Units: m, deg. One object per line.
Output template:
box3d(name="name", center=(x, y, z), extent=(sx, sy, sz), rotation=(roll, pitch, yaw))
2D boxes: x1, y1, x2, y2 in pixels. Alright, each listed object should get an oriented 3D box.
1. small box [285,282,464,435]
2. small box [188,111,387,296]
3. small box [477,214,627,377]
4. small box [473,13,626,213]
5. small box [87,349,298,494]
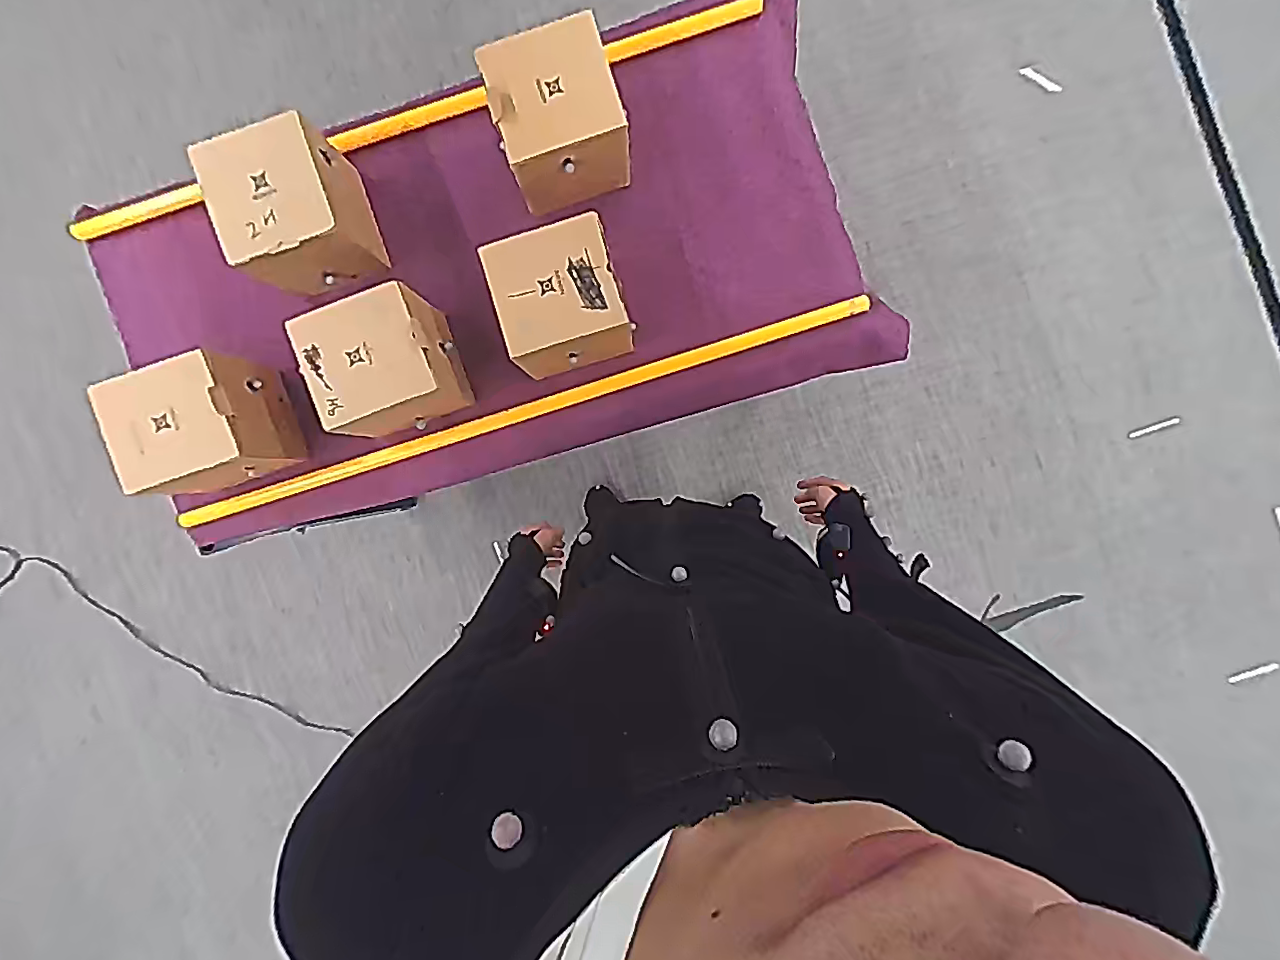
box3d(name="small box", center=(-0.391, -0.177, 0.838), extent=(0.179, 0.176, 0.168), rotation=(-20, 91, 0))
box3d(name="small box", center=(-0.528, -0.412, 0.835), extent=(0.168, 0.176, 0.179), rotation=(-18, 93, 1))
box3d(name="small box", center=(-0.123, -0.271, 0.832), extent=(0.179, 0.176, 0.168), rotation=(-16, 89, 2))
box3d(name="small box", center=(-0.126, -0.545, 0.828), extent=(0.179, 0.176, 0.168), rotation=(-18, 92, 2))
box3d(name="small box", center=(-0.672, -0.085, 0.841), extent=(0.179, 0.176, 0.168), rotation=(-19, 90, -1))
